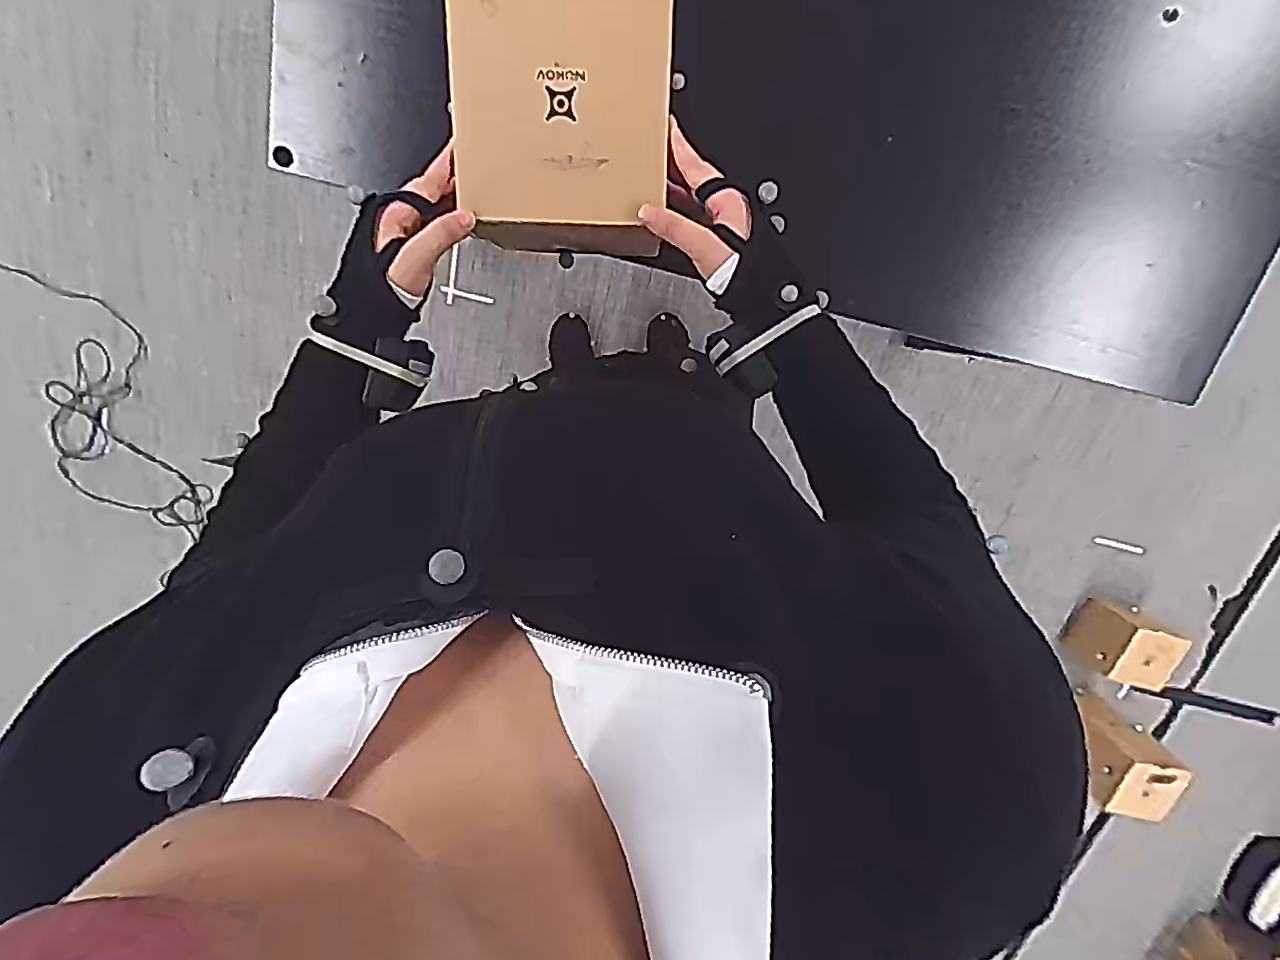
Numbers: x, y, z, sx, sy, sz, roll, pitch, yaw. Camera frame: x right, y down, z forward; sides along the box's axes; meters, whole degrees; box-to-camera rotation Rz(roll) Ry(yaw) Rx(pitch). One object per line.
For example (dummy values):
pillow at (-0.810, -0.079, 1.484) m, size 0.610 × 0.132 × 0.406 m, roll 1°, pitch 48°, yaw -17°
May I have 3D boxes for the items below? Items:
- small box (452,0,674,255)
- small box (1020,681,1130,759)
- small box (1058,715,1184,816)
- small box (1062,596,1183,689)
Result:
small box at (-0.059, -0.312, 0.490) m, size 0.168 × 0.176 × 0.179 m, roll 1°, pitch 106°, yaw 0°
small box at (1.333, 0.749, 1.672) m, size 0.179 × 0.176 × 0.168 m, roll 11°, pitch 107°, yaw -2°
small box at (1.330, 0.792, 1.512) m, size 0.168 × 0.176 × 0.179 m, roll 11°, pitch 108°, yaw -3°
small box at (1.394, 0.471, 1.581) m, size 0.168 × 0.176 × 0.179 m, roll 15°, pitch 107°, yaw -5°
